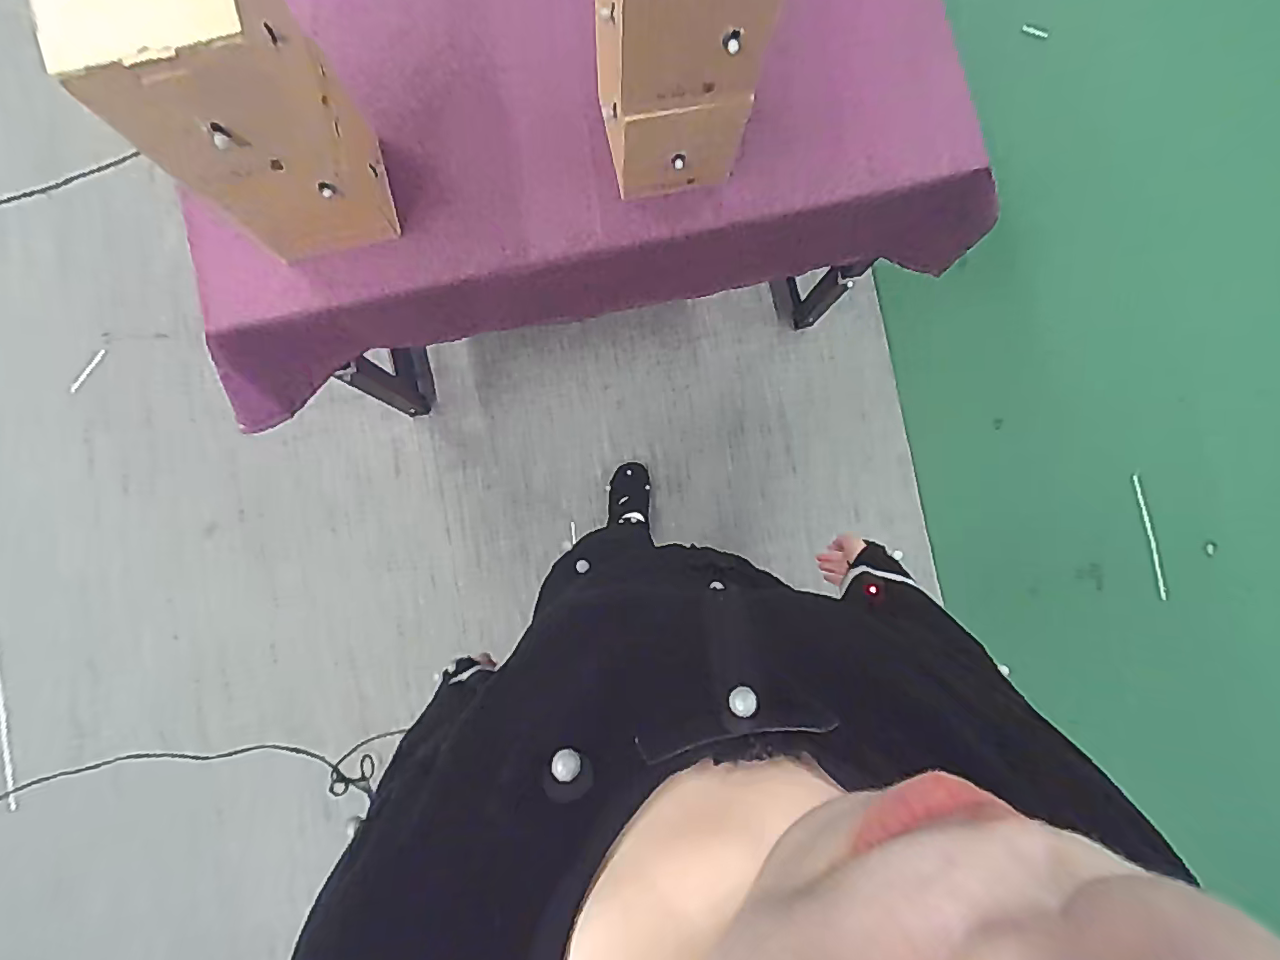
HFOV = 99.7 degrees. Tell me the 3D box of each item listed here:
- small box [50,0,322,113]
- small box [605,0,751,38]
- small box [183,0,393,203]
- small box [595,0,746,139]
[{"bbox_3d":[-0.458,-0.513,0.549,0.168,0.176,0.179,-15,87,-4],"label":"small box"},{"bbox_3d":[0.038,-0.615,0.573,0.168,0.176,0.179,-9,86,-3],"label":"small box"},{"bbox_3d":[-0.460,-0.498,0.712,0.179,0.176,0.168,-14,86,-4],"label":"small box"},{"bbox_3d":[0.033,-0.599,0.735,0.168,0.176,0.179,-11,86,-3],"label":"small box"}]
